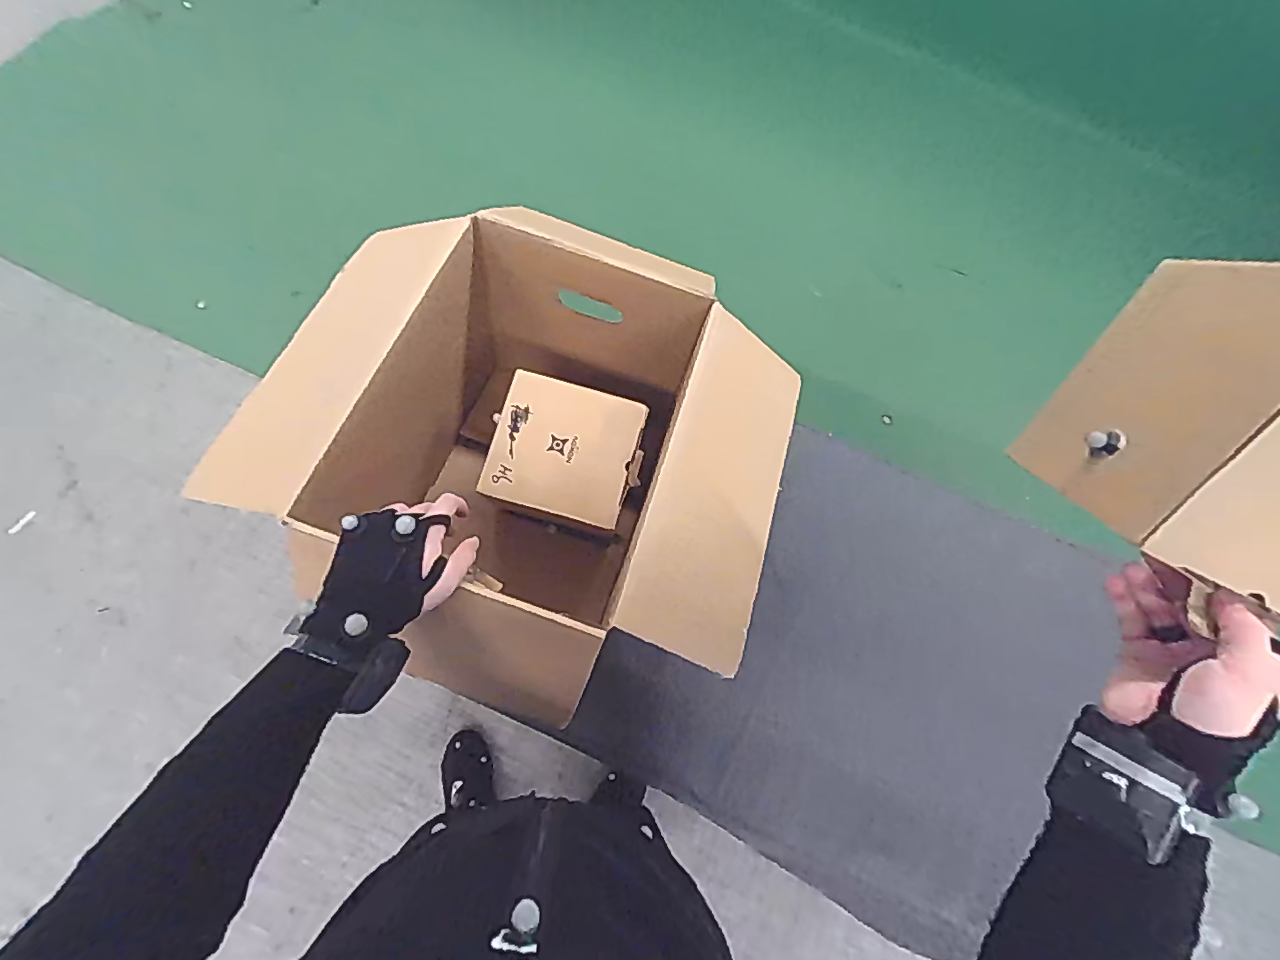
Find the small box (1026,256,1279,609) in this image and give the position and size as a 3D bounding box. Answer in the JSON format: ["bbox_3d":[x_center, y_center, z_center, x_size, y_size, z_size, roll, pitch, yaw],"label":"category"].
[{"bbox_3d":[0.416,-0.035,0.373,0.168,0.179,0.176,24,24,-3],"label":"small box"}]
